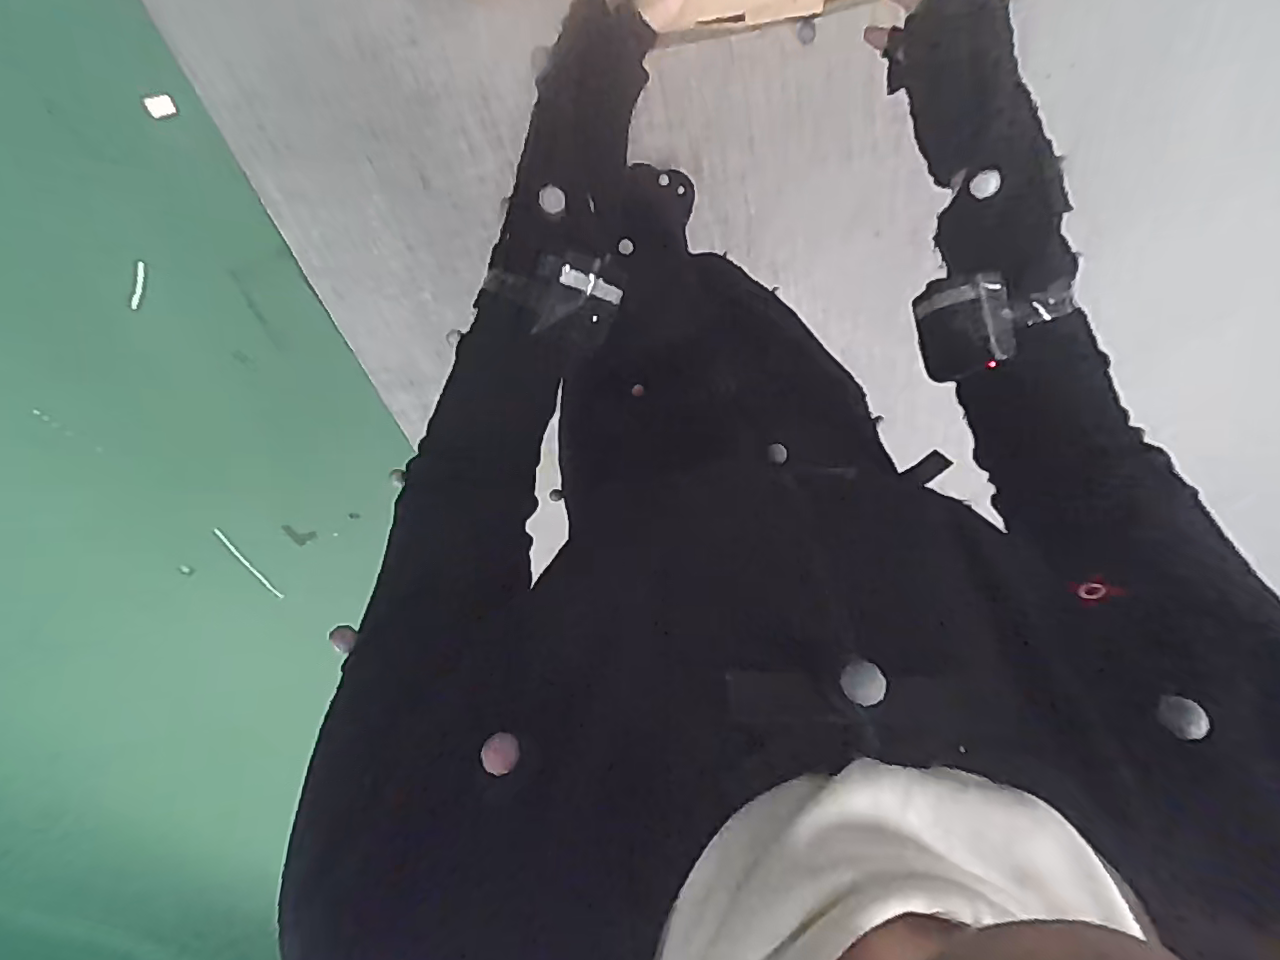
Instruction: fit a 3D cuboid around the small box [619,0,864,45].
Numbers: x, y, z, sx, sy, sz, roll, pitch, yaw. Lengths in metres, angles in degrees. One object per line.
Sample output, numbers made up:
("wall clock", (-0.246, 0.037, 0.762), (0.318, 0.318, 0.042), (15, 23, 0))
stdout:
("small box", (0.061, -0.384, 0.324), (0.168, 0.176, 0.179), (-8, 124, 2))
